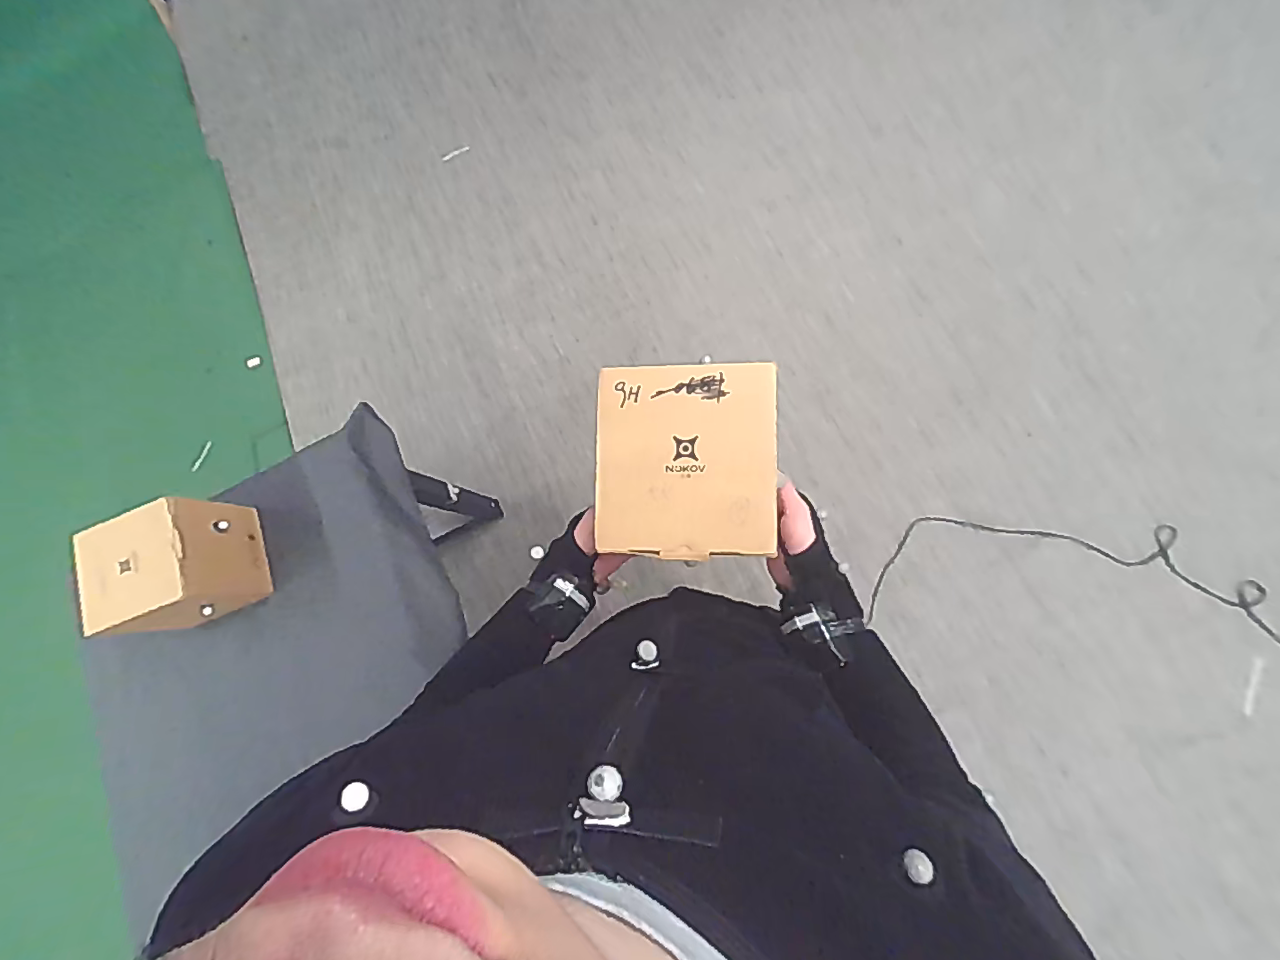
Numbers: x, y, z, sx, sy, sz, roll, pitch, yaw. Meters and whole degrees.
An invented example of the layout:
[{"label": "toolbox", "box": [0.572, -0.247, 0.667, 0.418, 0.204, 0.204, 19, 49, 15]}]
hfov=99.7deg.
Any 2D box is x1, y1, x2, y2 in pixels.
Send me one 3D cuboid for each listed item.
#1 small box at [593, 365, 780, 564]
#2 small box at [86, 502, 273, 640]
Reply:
[{"label": "small box", "box": [0.053, -0.010, 0.559, 0.168, 0.176, 0.179, 1, 85, 9]}, {"label": "small box", "box": [-0.747, 0.152, 0.896, 0.179, 0.176, 0.168, -22, 74, 5]}]
